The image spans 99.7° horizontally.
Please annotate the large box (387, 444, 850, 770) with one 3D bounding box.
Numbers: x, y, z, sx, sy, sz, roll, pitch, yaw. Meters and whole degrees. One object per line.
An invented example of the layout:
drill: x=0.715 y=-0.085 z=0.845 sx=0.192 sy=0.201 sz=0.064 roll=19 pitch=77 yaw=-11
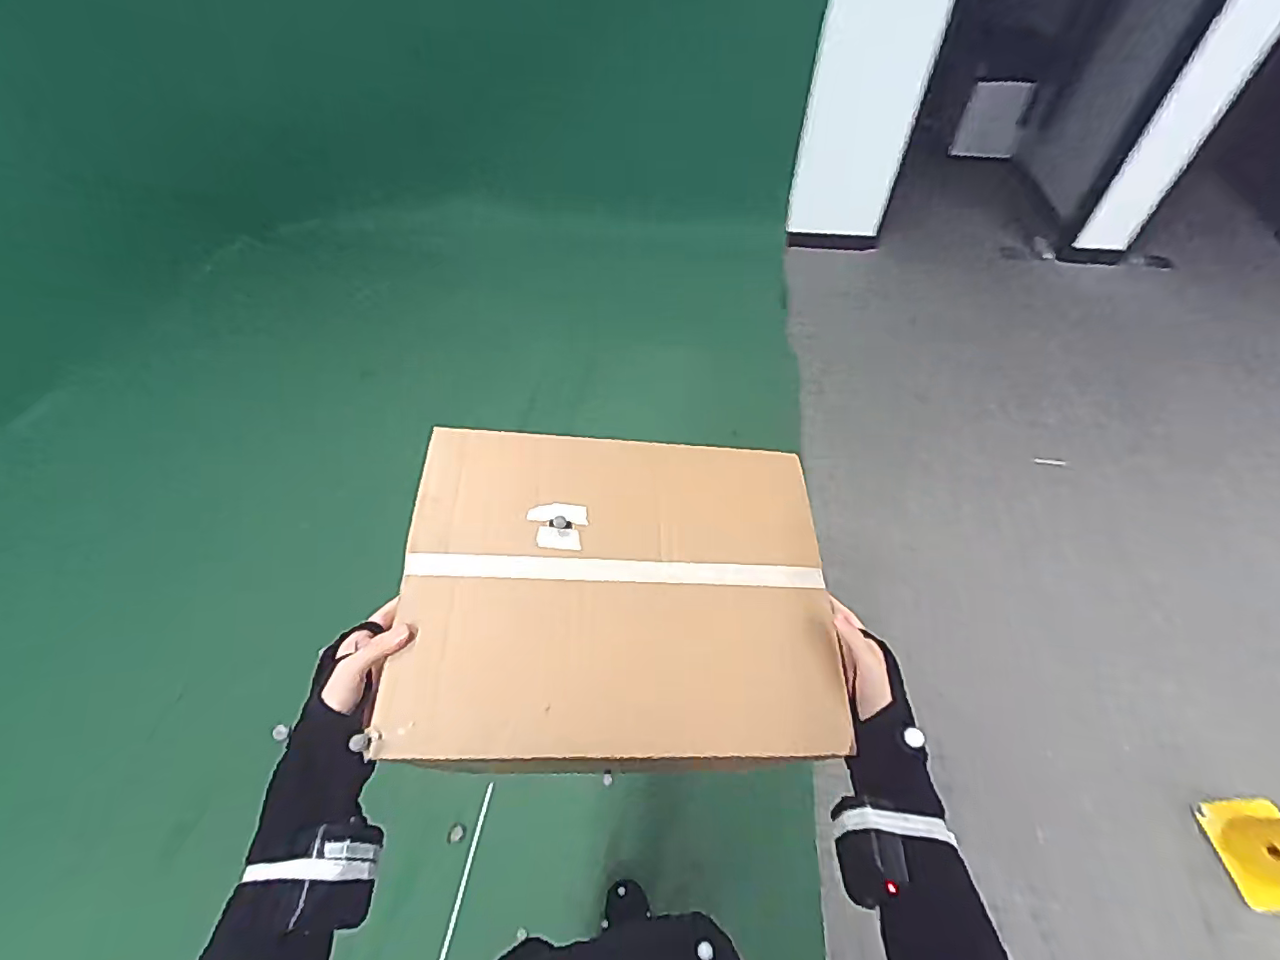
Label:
large box: x=-0.027 y=0.176 z=0.658 sx=0.408 sy=0.320 sz=0.320 roll=4 pitch=59 yaw=-6
